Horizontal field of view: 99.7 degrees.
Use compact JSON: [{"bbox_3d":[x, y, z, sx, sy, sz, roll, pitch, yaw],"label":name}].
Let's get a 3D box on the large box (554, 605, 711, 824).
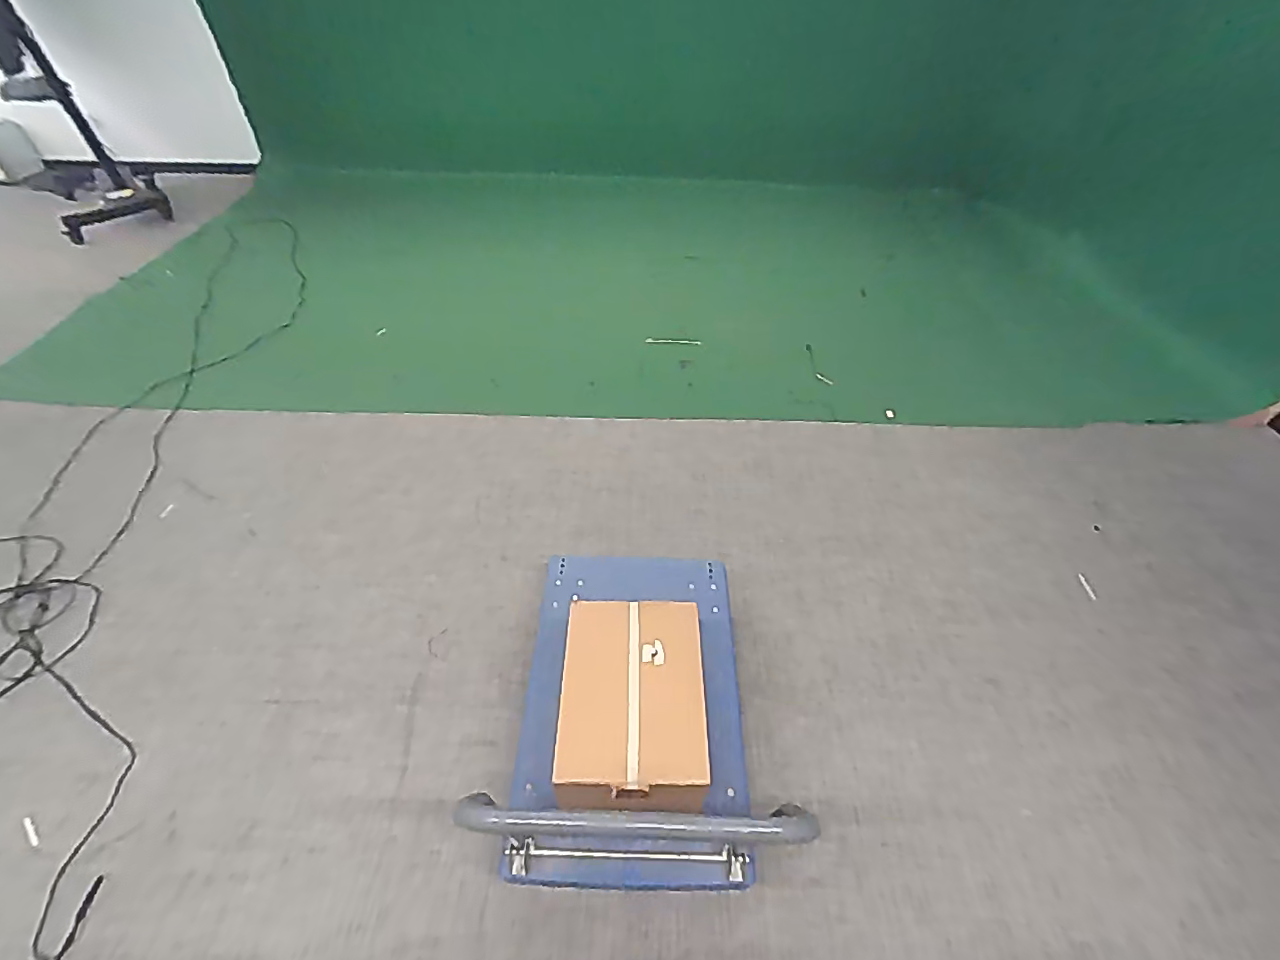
[{"bbox_3d":[-0.018,0.556,1.292,0.320,0.320,0.408,1,46,-1],"label":"large box"}]
